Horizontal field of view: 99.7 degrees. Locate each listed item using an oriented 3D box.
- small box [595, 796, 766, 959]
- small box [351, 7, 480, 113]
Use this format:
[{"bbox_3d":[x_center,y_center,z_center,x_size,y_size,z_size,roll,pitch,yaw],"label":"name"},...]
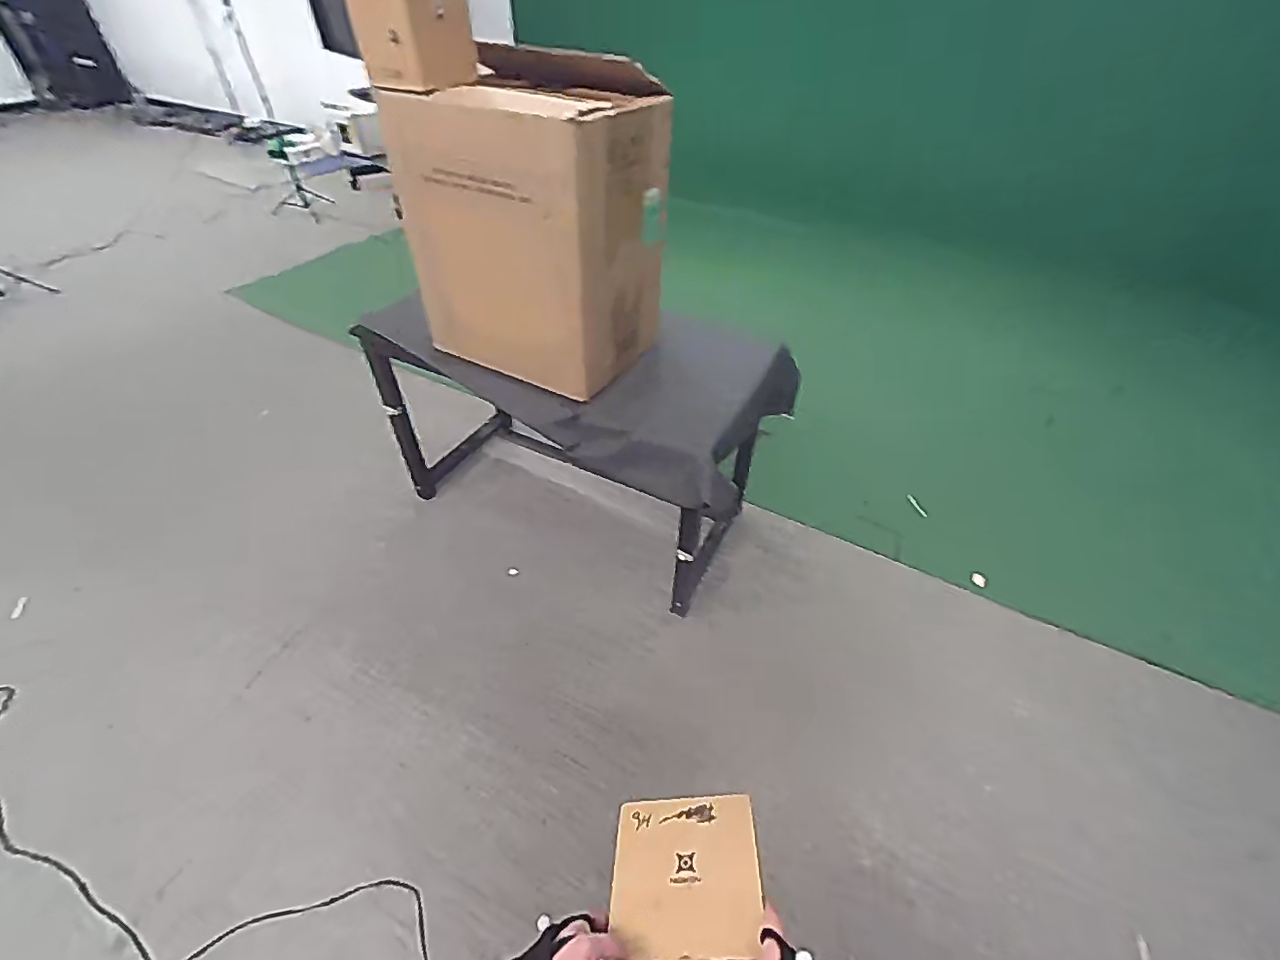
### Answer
[{"bbox_3d":[0.055,0.516,0.641,0.168,0.176,0.179,-10,24,8],"label":"small box"},{"bbox_3d":[-0.470,-0.904,1.164,0.168,0.176,0.179,22,46,22],"label":"small box"}]
